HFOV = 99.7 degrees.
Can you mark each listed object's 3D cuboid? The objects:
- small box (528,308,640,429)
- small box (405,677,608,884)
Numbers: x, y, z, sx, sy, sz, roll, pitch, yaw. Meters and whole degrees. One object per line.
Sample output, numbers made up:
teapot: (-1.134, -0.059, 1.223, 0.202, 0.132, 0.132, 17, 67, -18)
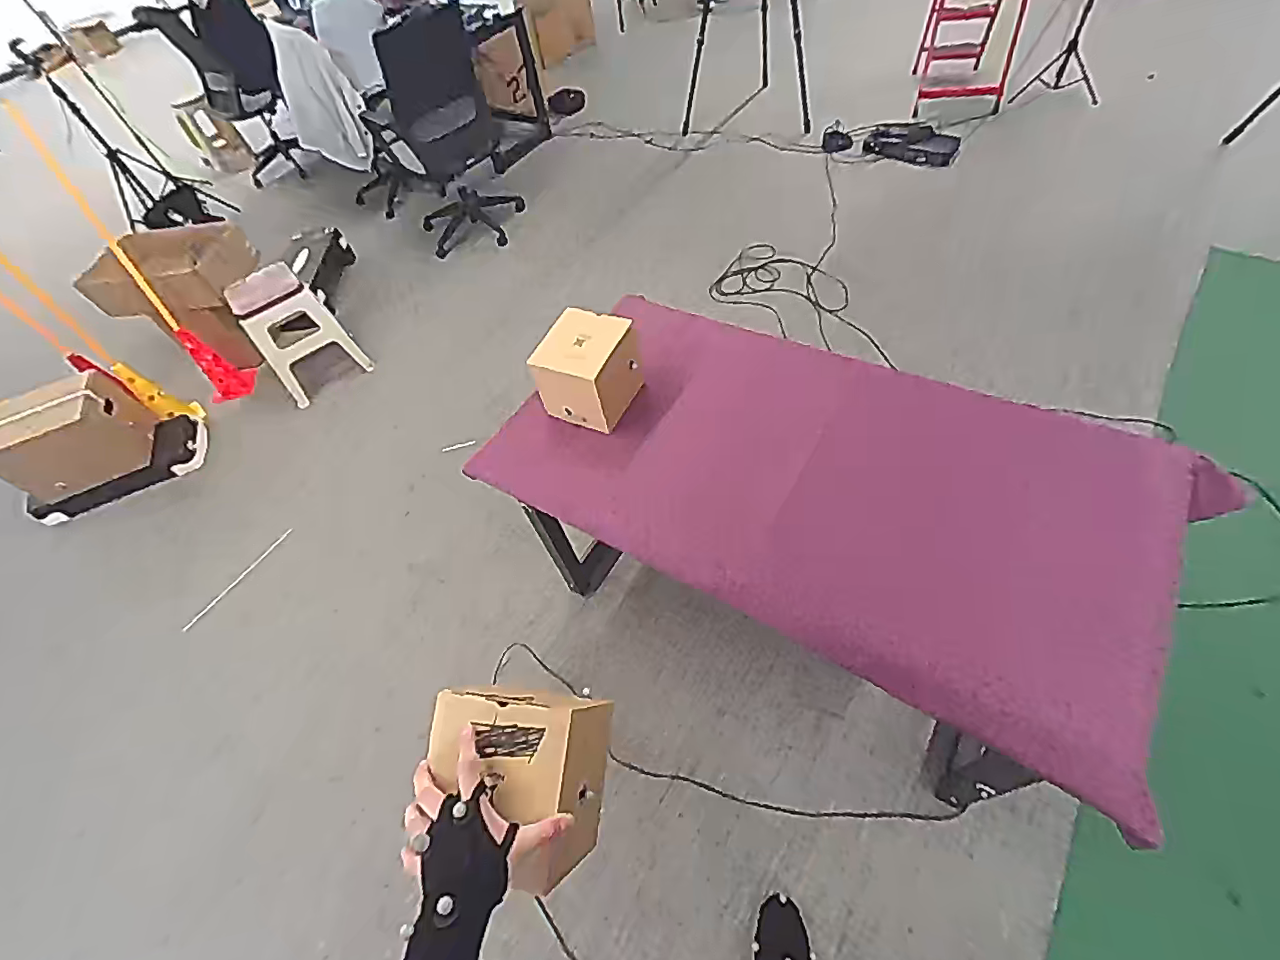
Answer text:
small box: (-0.111, -0.242, 1.178, 0.168, 0.176, 0.179, 19, 61, 23)
small box: (-0.145, 0.342, 0.658, 0.168, 0.176, 0.179, 3, 73, 16)
